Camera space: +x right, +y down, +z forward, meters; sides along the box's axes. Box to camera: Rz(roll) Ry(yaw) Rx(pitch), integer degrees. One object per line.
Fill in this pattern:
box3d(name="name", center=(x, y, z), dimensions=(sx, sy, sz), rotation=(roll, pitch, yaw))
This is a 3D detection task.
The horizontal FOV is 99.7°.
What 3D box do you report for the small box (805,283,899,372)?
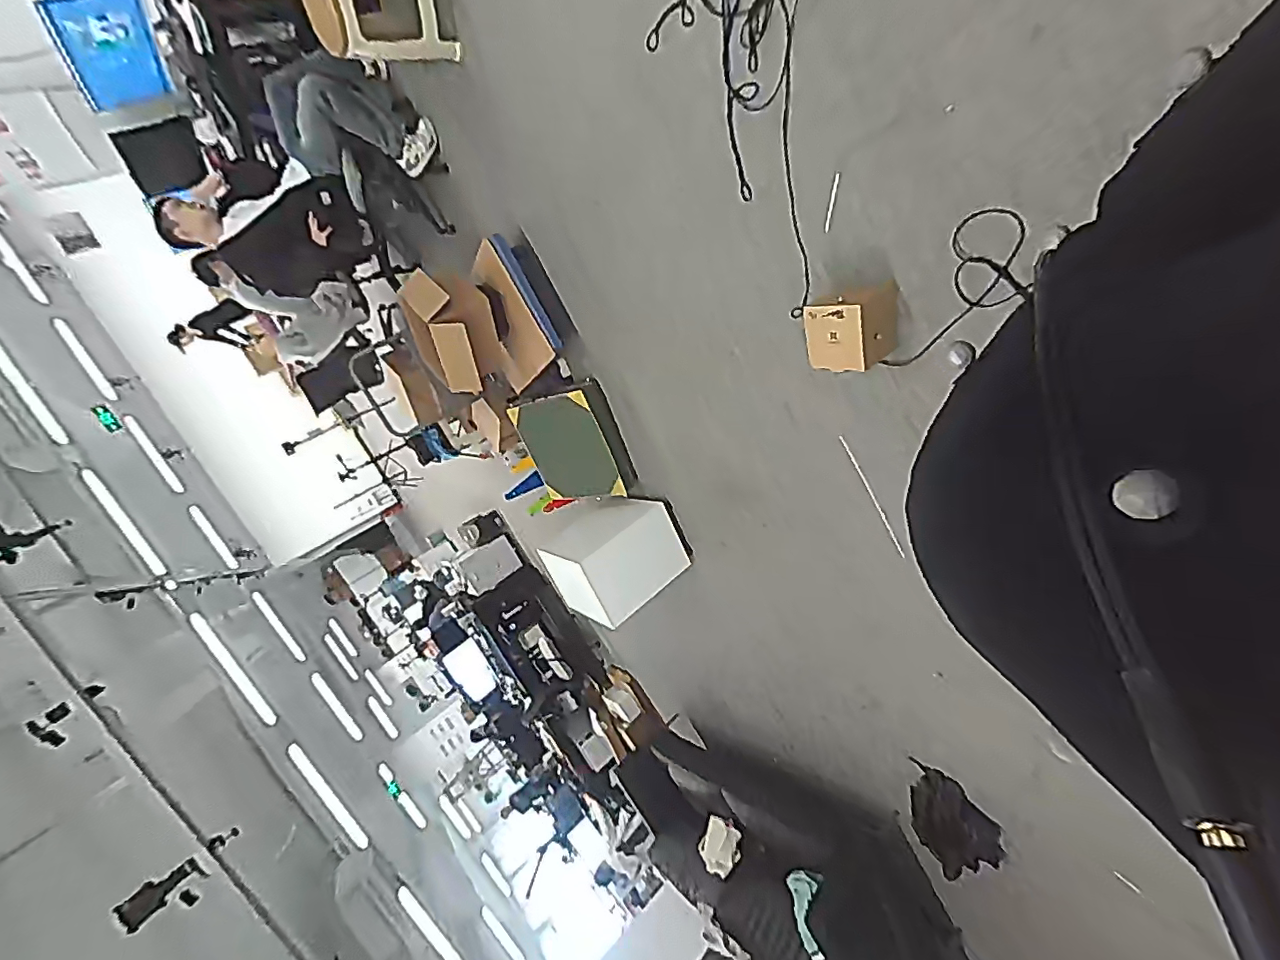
box3d(name="small box", center=(0.565, -0.405, 1.431), dimensions=(0.168, 0.176, 0.179), rotation=(20, 135, 49))
